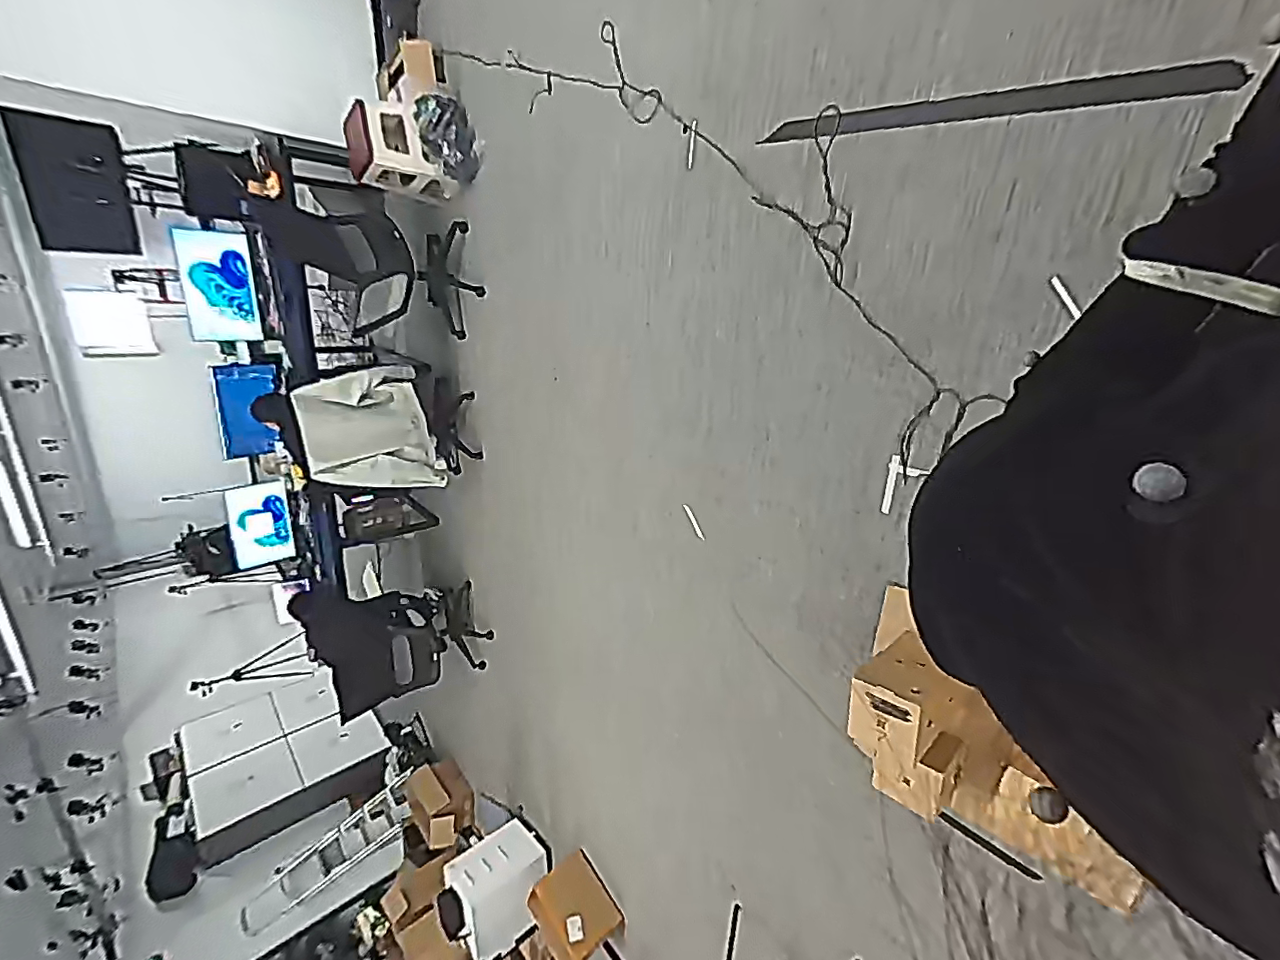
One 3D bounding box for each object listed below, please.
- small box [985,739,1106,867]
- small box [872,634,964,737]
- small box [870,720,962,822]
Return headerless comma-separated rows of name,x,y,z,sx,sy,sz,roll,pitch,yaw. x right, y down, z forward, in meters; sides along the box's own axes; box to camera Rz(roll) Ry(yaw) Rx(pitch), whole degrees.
small box,0.970,0.756,1.294,0.179,0.176,0.168,25,118,40
small box,0.759,0.548,1.471,0.168,0.176,0.179,16,113,45
small box,0.777,0.802,1.525,0.179,0.176,0.168,15,113,44
